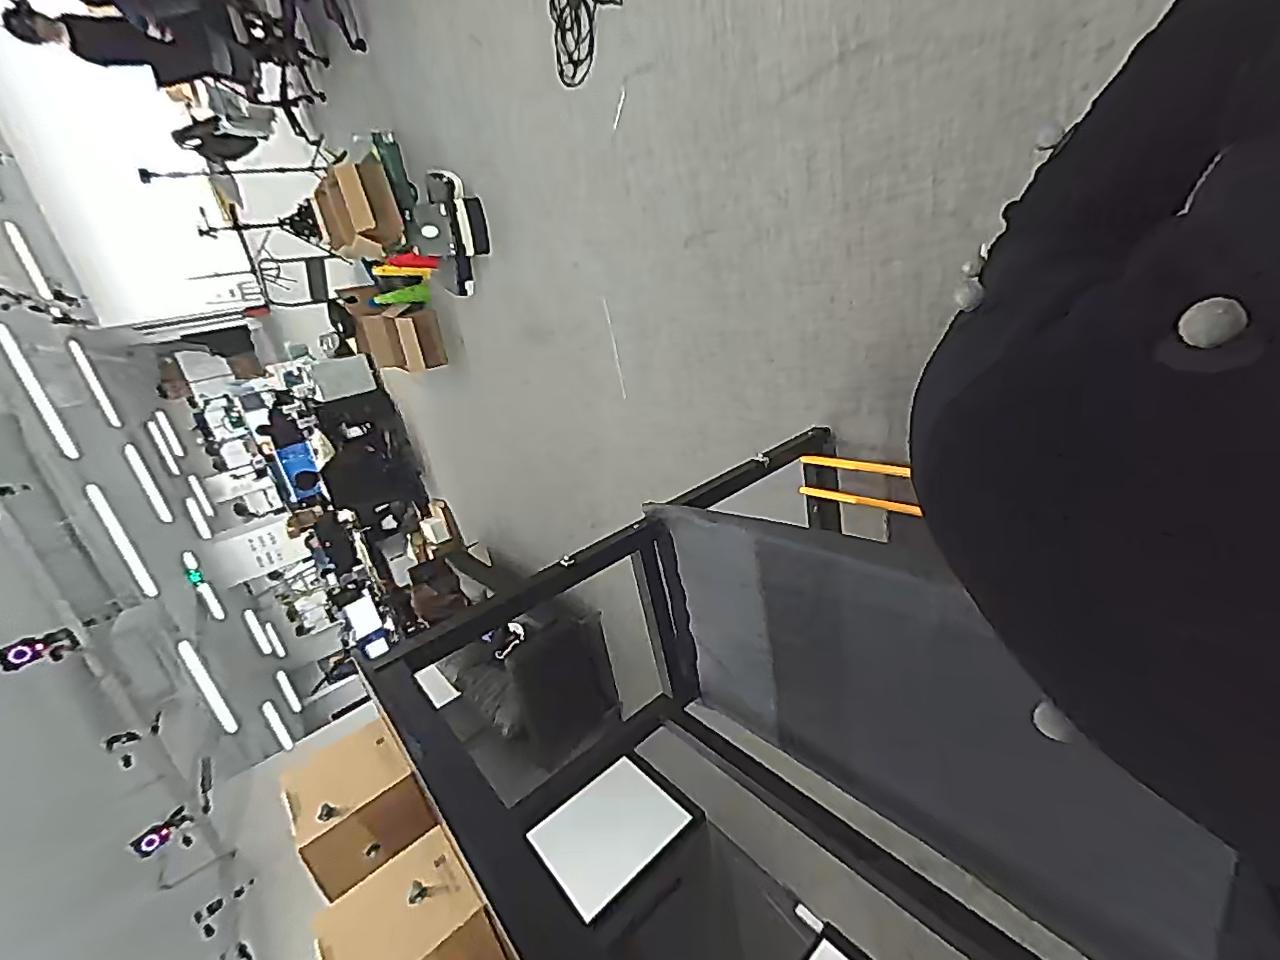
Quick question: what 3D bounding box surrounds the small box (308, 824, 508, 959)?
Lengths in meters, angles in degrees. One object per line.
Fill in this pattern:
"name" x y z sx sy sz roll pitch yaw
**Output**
"small box" -0.270 0.579 0.656 0.168 0.176 0.179 7 116 52
